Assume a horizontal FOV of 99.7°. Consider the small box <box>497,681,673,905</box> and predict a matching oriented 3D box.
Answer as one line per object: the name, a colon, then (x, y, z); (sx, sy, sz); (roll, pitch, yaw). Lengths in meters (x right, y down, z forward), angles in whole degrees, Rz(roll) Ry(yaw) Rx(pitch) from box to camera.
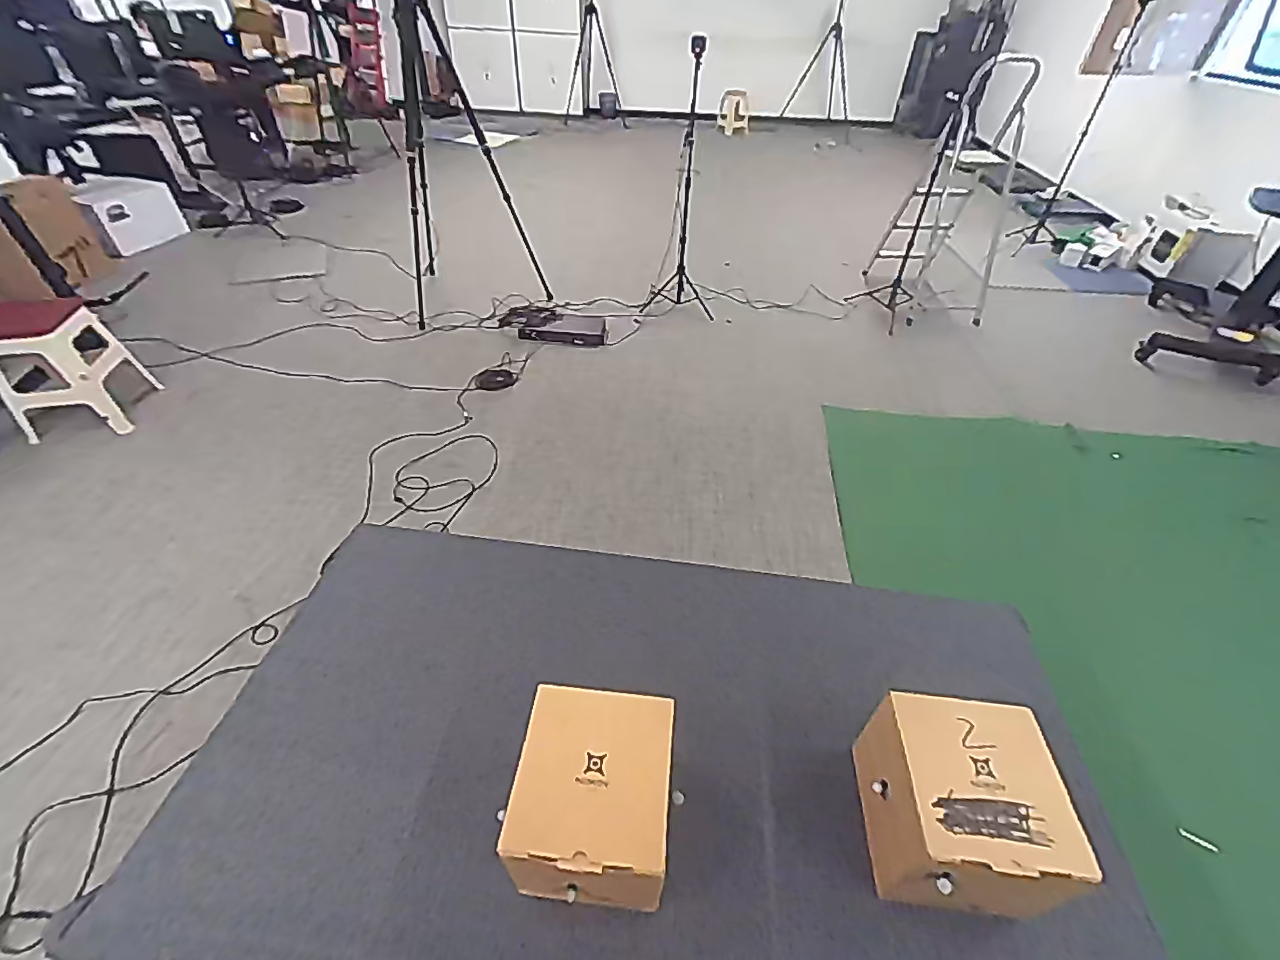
small box: (-0.056, 0.366, 0.635); (0.168, 0.176, 0.179); (6, 43, 3)
